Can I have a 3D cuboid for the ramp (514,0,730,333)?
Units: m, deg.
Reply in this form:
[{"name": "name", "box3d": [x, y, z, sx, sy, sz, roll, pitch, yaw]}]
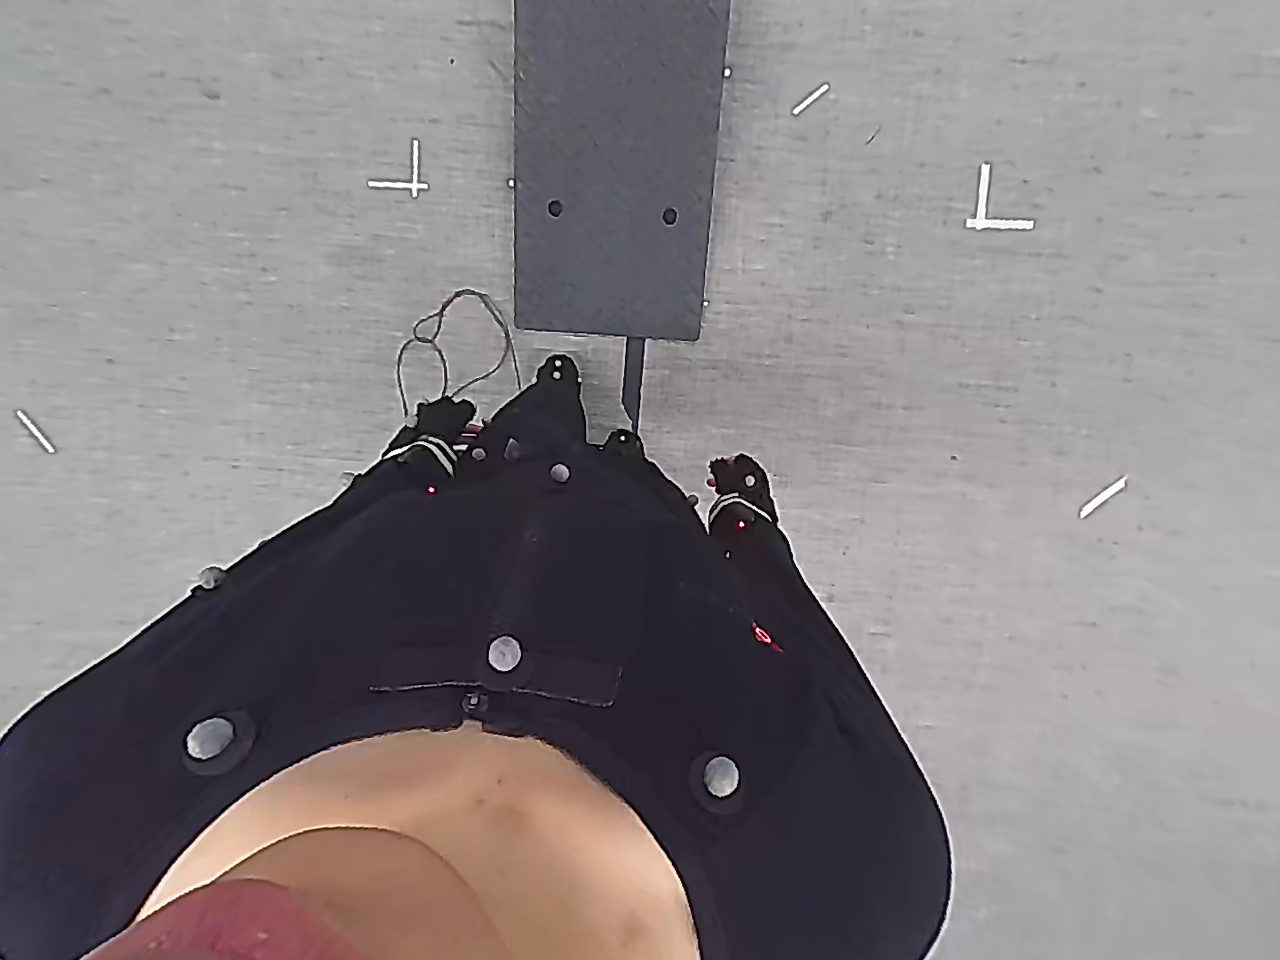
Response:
[{"name": "ramp", "box3d": [-0.053, -0.877, 1.282, 0.509, 0.206, 0.991, 2, 97, -1]}]
